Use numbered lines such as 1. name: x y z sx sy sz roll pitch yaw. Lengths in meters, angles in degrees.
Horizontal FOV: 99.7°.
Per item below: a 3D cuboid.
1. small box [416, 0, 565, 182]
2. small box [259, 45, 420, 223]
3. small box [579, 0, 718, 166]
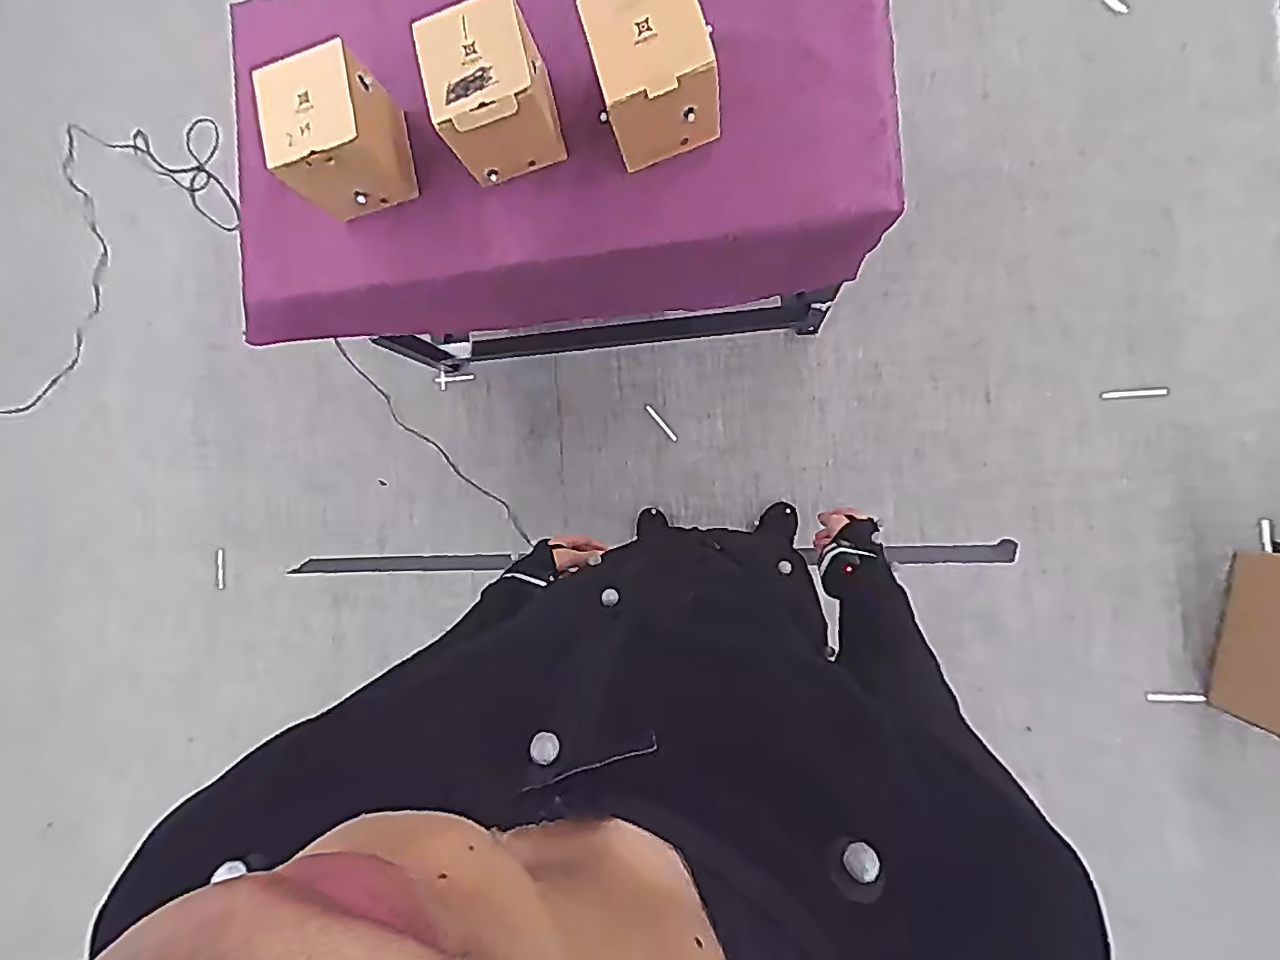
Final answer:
1. small box: -0.237 -0.629 0.896 0.168 0.176 0.179 -14 85 9
2. small box: -0.513 -0.588 0.942 0.168 0.176 0.179 -12 86 9
3. small box: 0.022 -0.634 0.853 0.168 0.176 0.179 -16 85 9
